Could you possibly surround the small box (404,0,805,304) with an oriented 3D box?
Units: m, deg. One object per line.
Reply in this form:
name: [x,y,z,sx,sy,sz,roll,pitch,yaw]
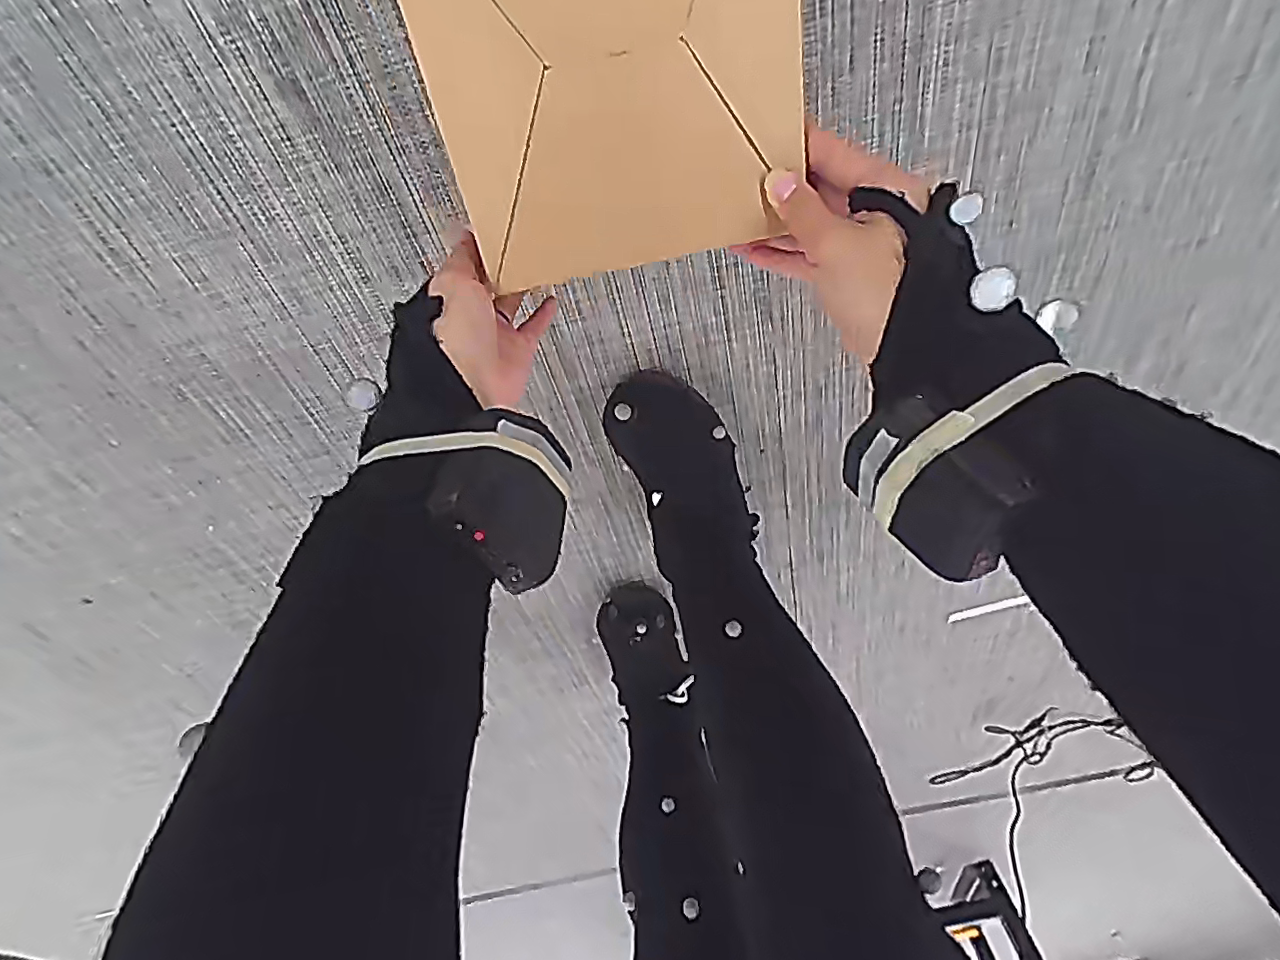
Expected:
small box: [-0.016,-0.219,0.304,0.168,0.176,0.179,-12,121,2]
